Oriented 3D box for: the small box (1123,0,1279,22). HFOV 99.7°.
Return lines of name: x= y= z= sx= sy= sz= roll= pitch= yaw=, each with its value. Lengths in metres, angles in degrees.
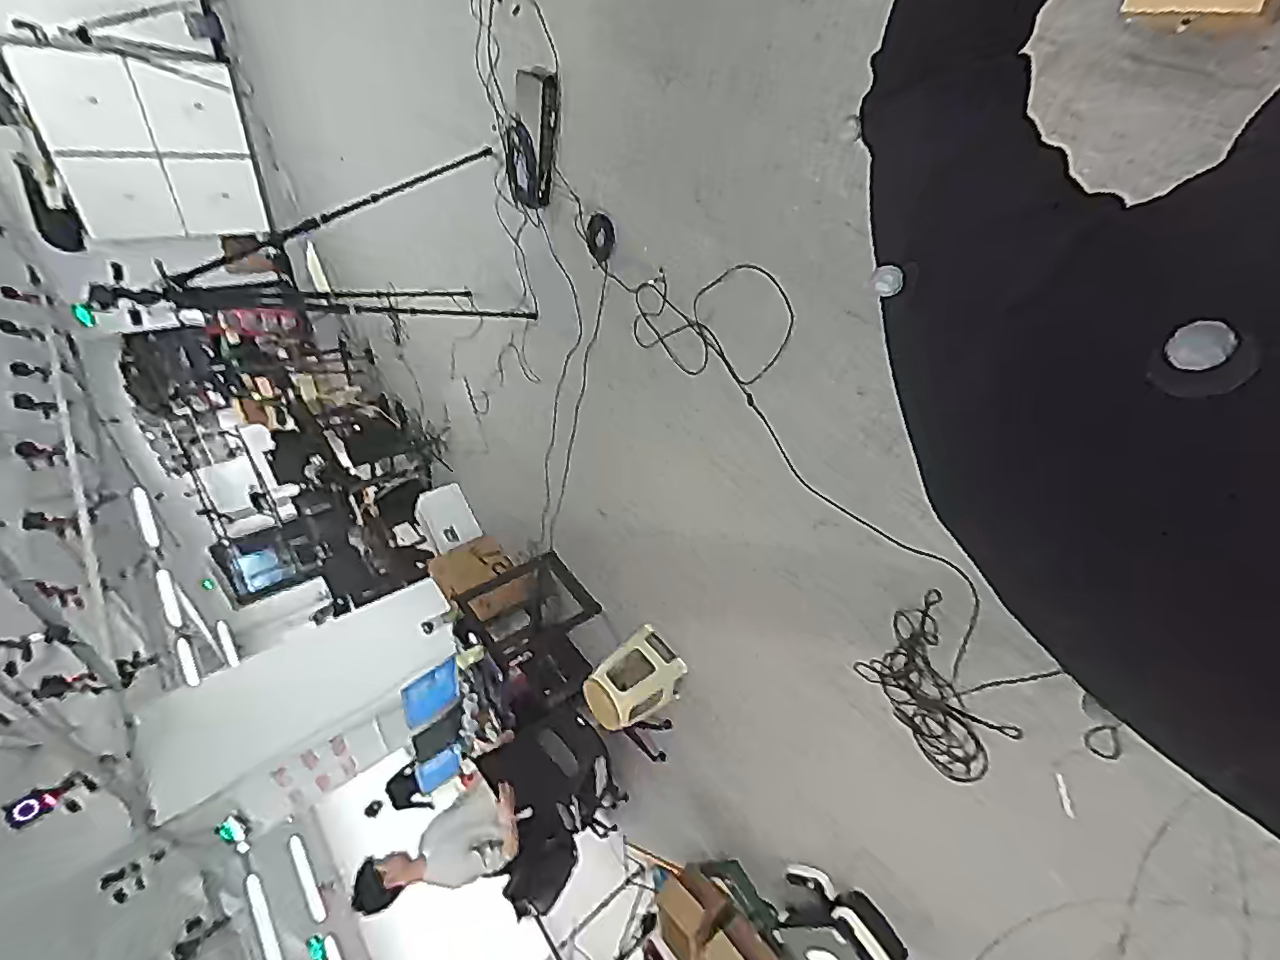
small box: x=0.897 y=-0.811 z=0.814 sx=0.179 sy=0.176 sz=0.168 roll=38 pitch=137 yaw=36
